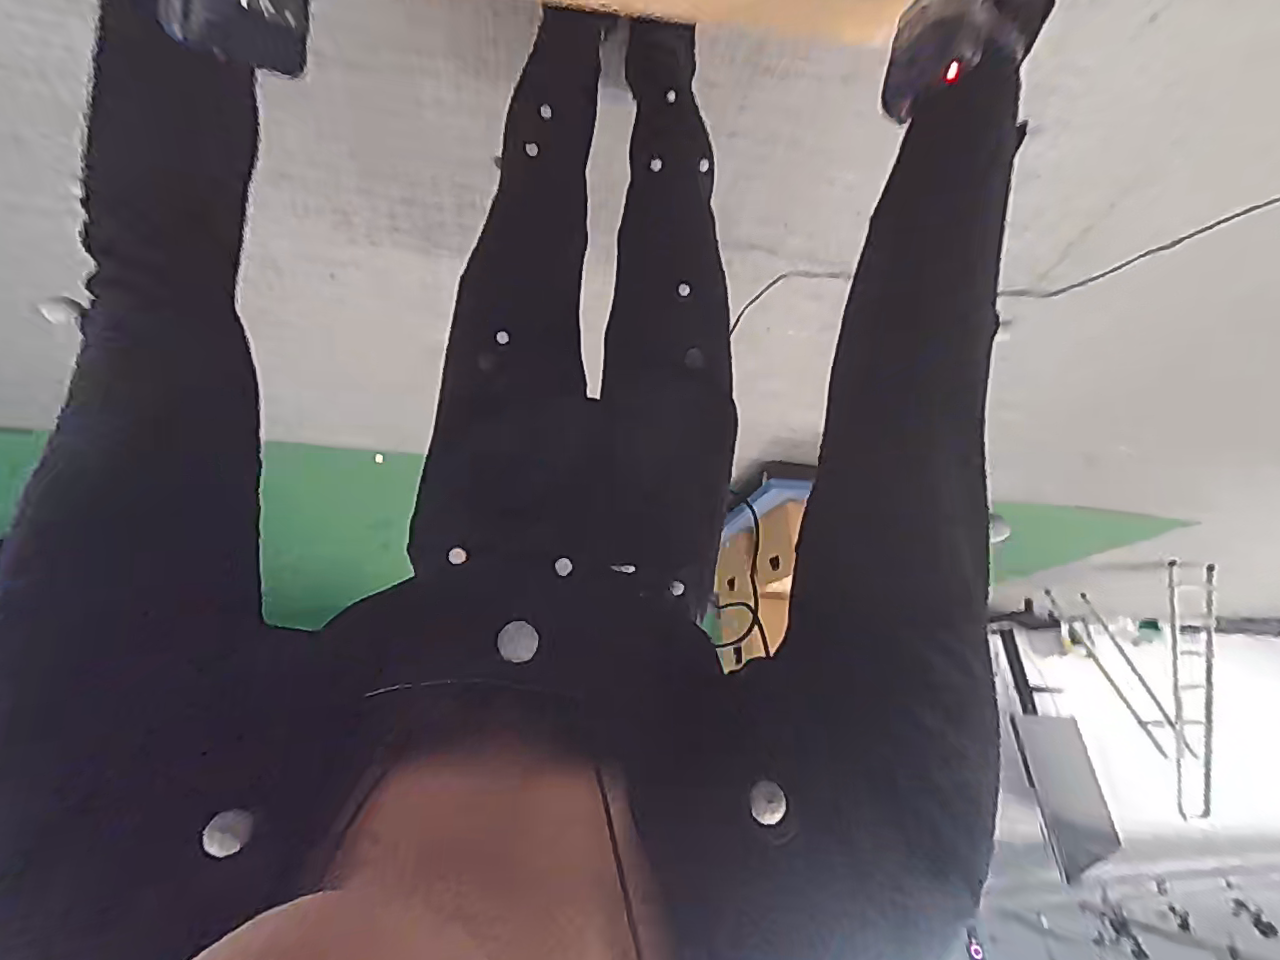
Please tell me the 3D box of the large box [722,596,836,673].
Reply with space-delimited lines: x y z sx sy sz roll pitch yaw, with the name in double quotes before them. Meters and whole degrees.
"large box" 0.638 0.736 2.548 0.408 0.320 0.320 6 157 -17
